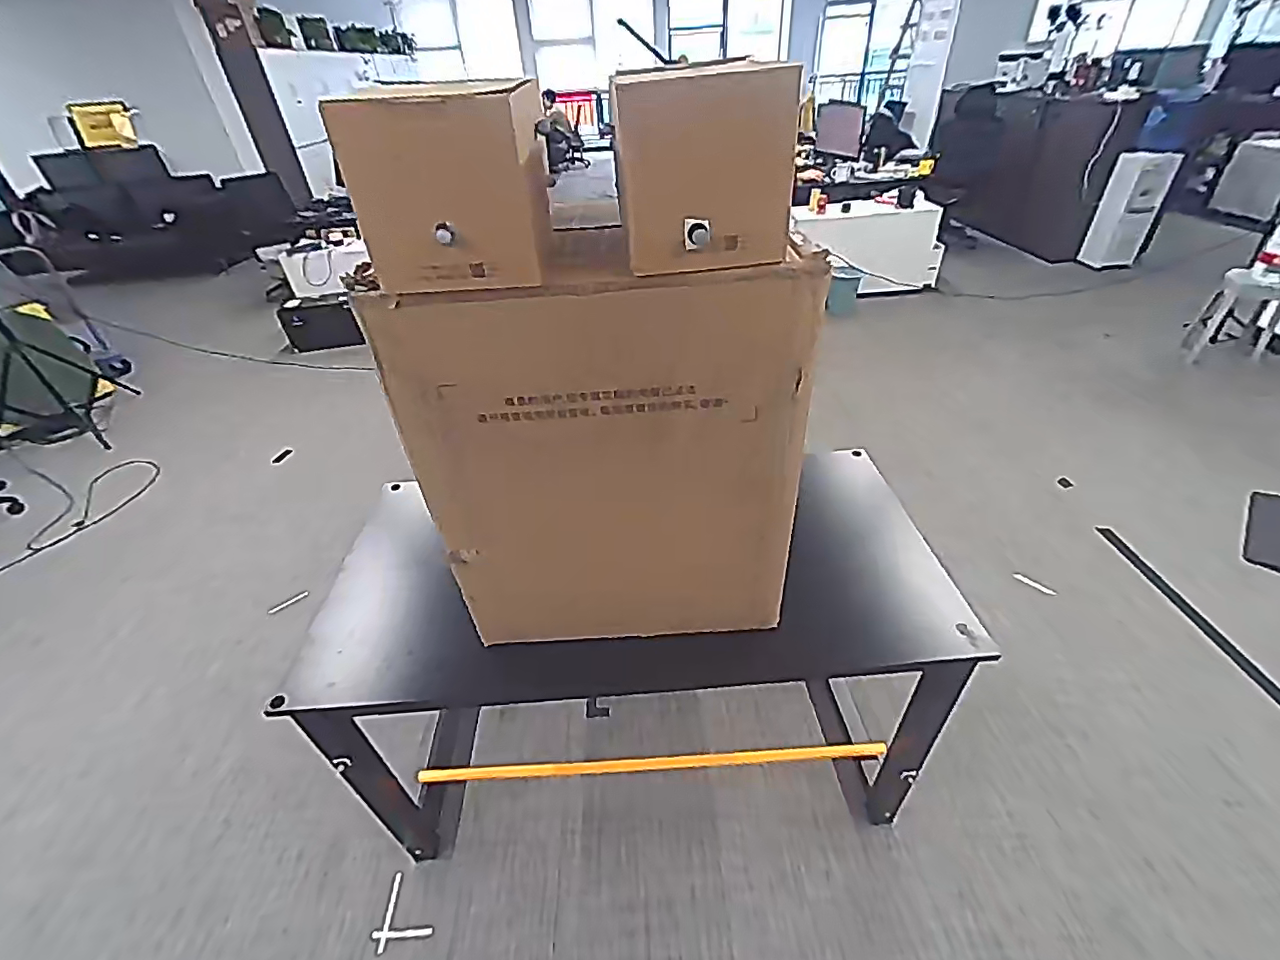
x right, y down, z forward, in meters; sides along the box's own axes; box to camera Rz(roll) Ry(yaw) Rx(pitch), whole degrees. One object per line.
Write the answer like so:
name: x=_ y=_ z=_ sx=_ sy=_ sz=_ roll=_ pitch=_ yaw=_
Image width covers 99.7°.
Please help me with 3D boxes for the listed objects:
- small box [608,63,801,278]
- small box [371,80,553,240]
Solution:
small box: x=0.059 y=-0.331 z=0.579 sx=0.168 sy=0.176 sz=0.179 roll=-8 pitch=39 yaw=-1
small box: x=-0.223 y=-0.431 z=0.731 sx=0.179 sy=0.176 sz=0.168 roll=-3 pitch=37 yaw=0
